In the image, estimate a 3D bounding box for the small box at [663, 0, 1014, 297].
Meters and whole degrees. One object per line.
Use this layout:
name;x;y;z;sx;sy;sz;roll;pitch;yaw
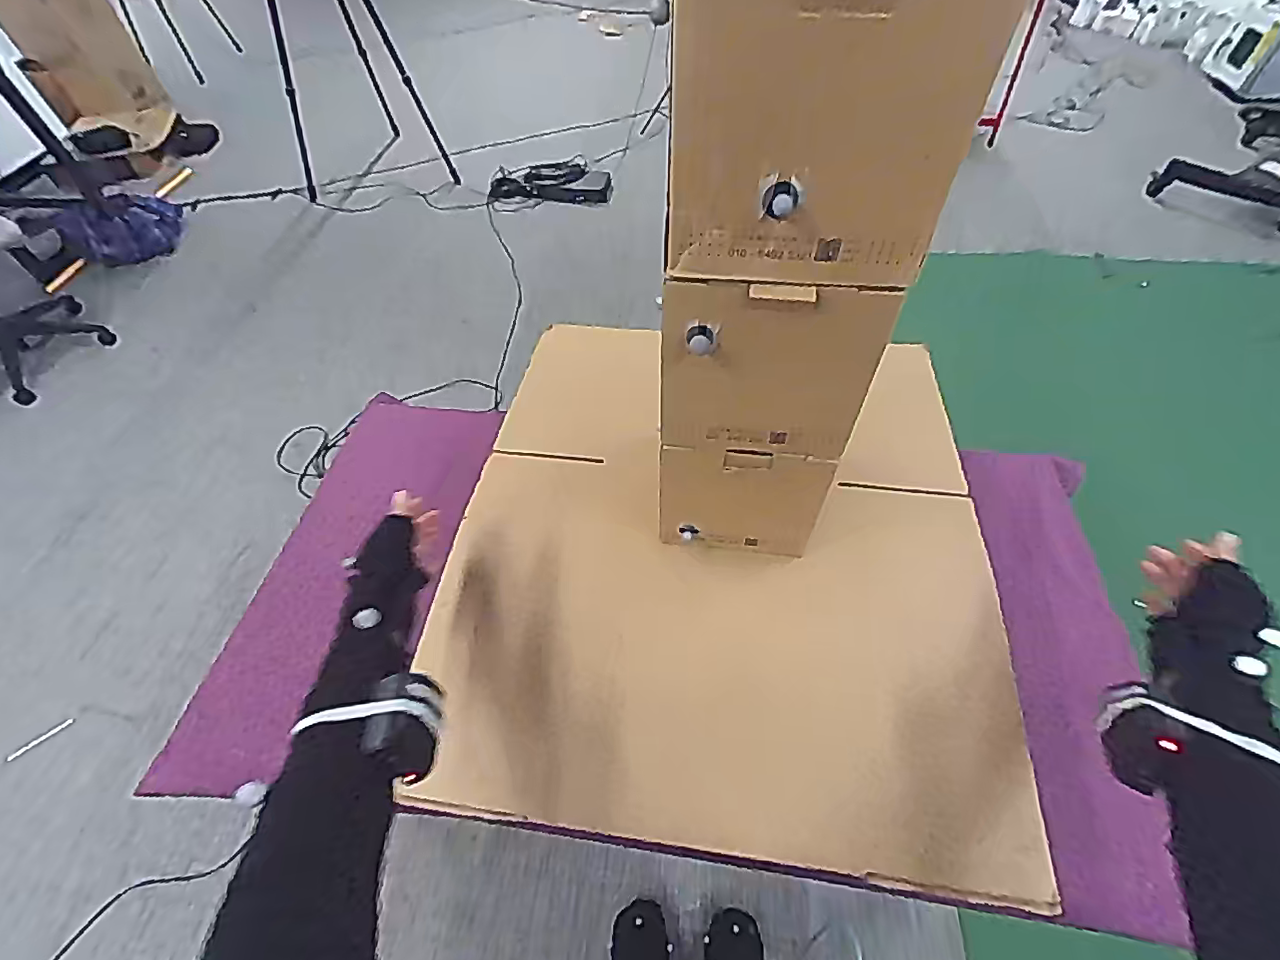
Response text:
small box;0.104;-0.248;0.366;0.168;0.176;0.179;4;51;4

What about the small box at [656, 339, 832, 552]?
small box;0.111;-0.036;0.615;0.168;0.176;0.179;5;51;6
